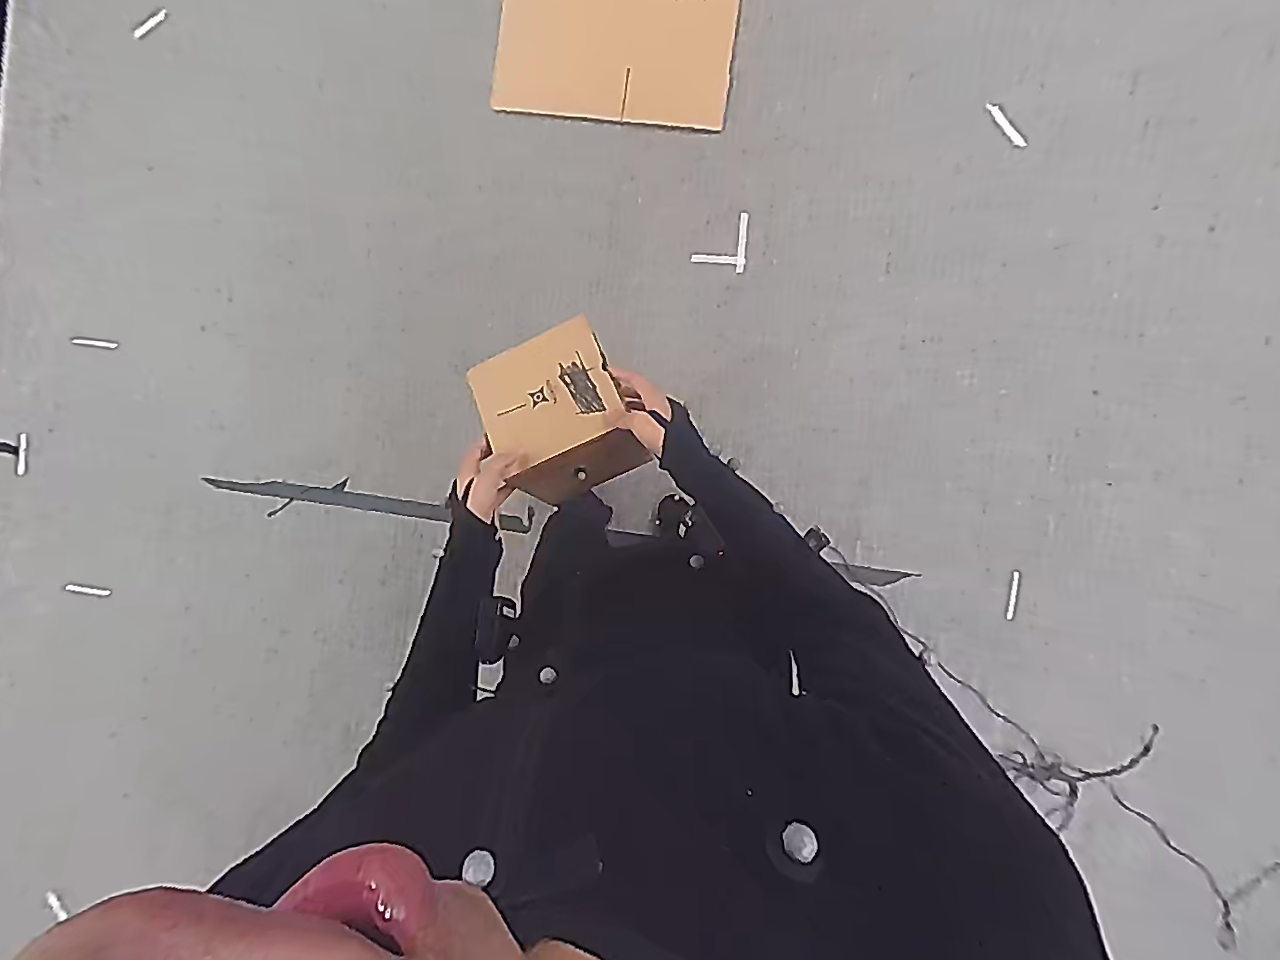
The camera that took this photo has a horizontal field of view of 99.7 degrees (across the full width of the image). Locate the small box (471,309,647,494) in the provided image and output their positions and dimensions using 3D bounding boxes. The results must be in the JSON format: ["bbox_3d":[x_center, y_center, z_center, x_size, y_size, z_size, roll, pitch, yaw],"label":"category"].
[{"bbox_3d":[-0.099,-0.097,0.749,0.179,0.176,0.168,-23,73,6],"label":"small box"}]
